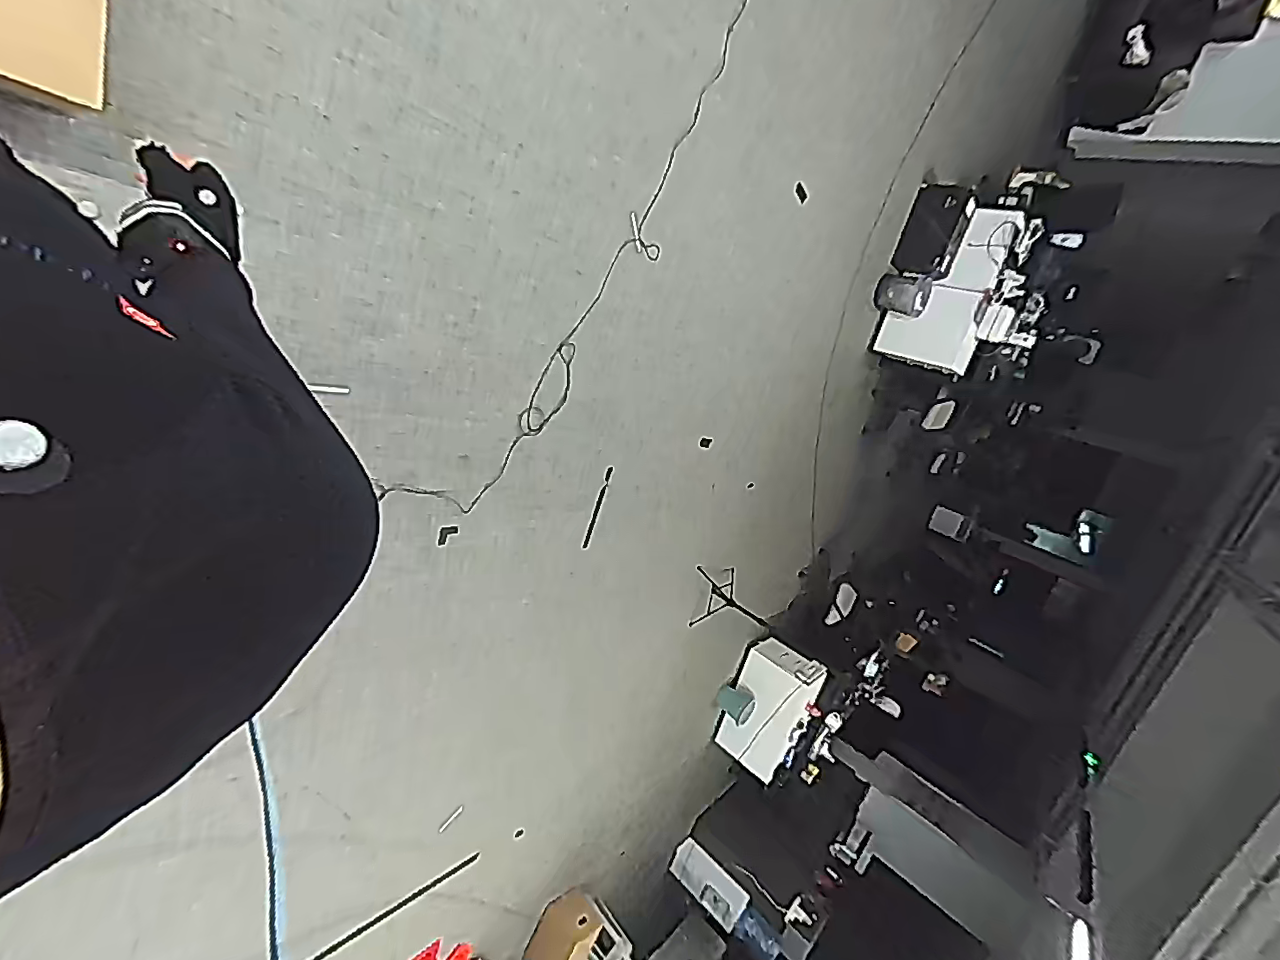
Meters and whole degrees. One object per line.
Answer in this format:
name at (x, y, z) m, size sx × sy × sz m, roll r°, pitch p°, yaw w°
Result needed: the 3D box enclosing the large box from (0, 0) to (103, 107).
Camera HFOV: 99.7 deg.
large box at (-0.960, -0.721, 0.657) m, size 0.408 × 0.320 × 0.320 m, roll -2°, pitch 115°, yaw -52°
